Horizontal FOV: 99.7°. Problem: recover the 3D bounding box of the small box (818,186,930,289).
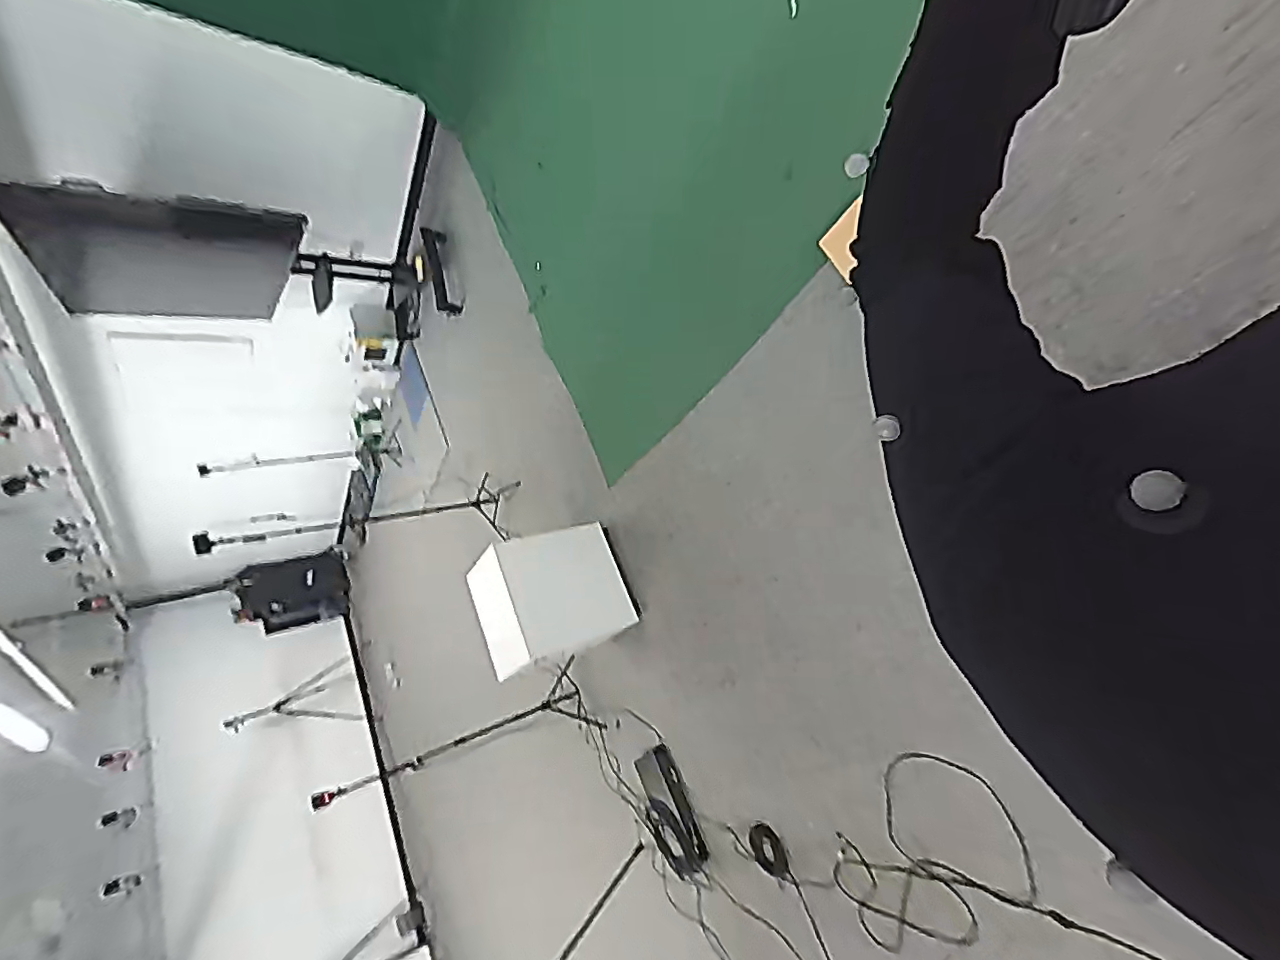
[{"bbox_3d":[0.616,-0.628,1.424,0.179,0.176,0.168,-47,61,43],"label":"small box"}]
